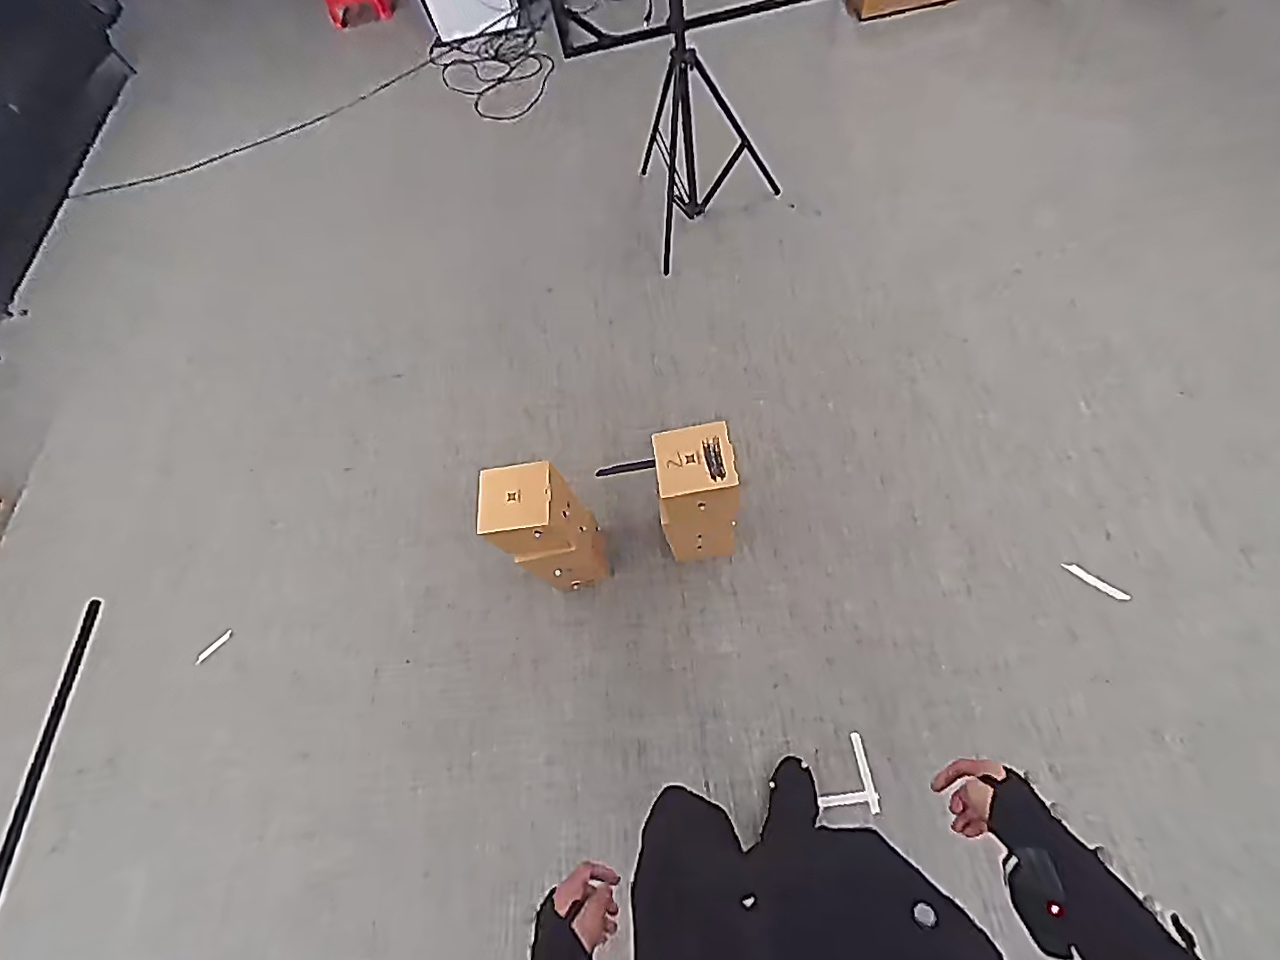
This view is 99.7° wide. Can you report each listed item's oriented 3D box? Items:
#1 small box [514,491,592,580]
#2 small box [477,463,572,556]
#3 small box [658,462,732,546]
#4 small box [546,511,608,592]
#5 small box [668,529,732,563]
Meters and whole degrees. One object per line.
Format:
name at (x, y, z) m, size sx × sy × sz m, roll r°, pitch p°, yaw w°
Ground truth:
small box at (-0.234, 0.154, 1.456) m, size 0.168 × 0.176 × 0.179 m, roll -13°, pitch 64°, yaw 5°
small box at (-0.274, 0.078, 1.317) m, size 0.179 × 0.176 × 0.168 m, roll -8°, pitch 64°, yaw 7°
small box at (0.145, 0.068, 1.426) m, size 0.179 × 0.176 × 0.168 m, roll -6°, pitch 64°, yaw 6°
small box at (-0.200, 0.216, 1.604) m, size 0.168 × 0.176 × 0.179 m, roll -14°, pitch 64°, yaw 4°
small box at (0.172, 0.137, 1.573) m, size 0.179 × 0.176 × 0.168 m, roll -7°, pitch 65°, yaw 6°
